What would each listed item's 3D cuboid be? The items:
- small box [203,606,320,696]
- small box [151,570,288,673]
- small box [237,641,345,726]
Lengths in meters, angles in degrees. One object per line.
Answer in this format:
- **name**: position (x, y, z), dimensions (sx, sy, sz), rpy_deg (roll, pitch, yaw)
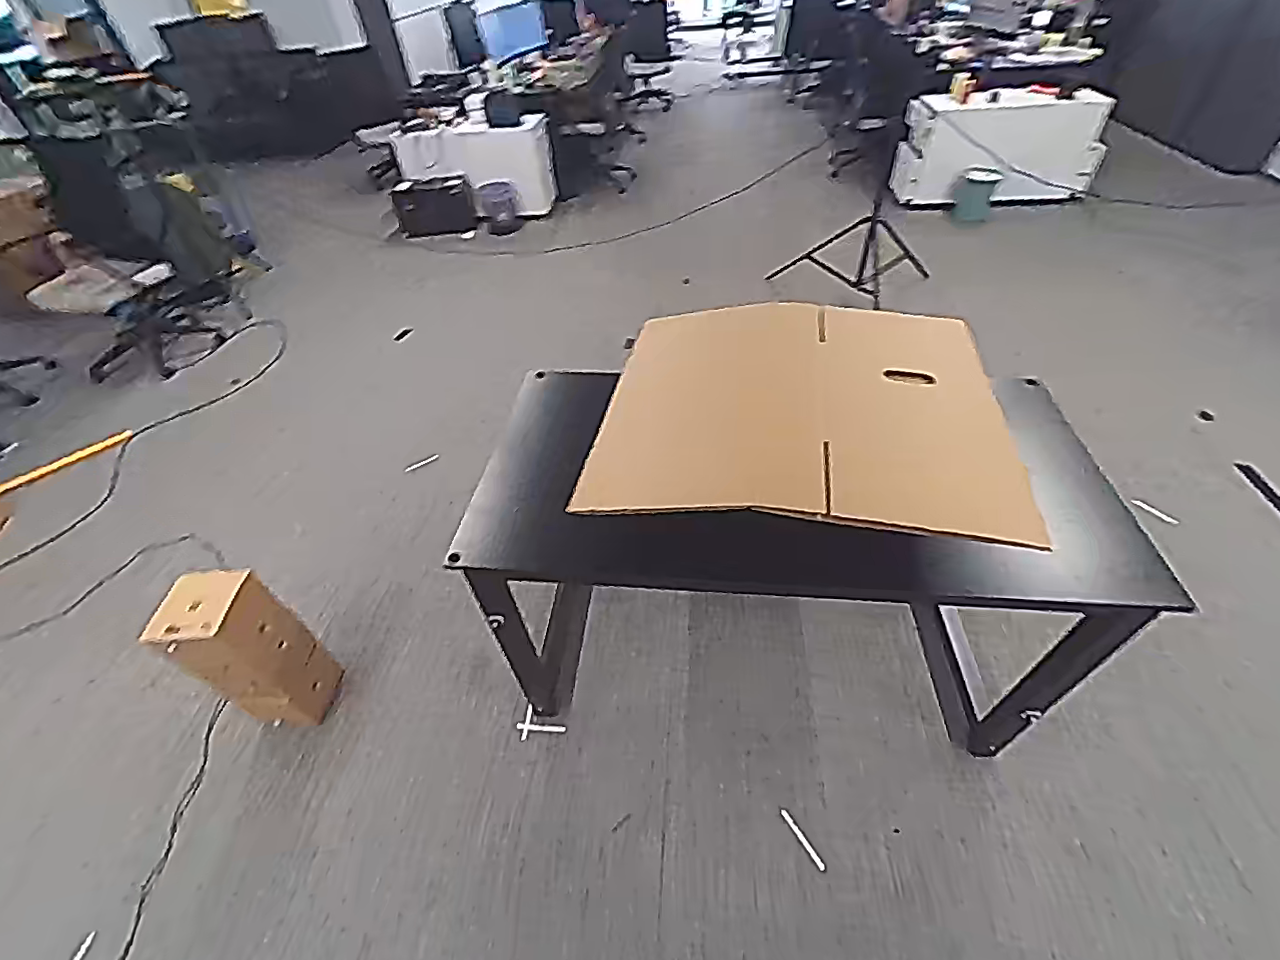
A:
- **small box**: position (-0.979, 0.452, 1.414), dimensions (0.168, 0.176, 0.179), rpy_deg (-2, 44, 2)
- **small box**: position (-0.988, 0.339, 1.295), dimensions (0.168, 0.176, 0.179), rpy_deg (-4, 44, 1)
- **small box**: position (-0.968, 0.571, 1.524), dimensions (0.168, 0.176, 0.179), rpy_deg (-1, 46, 5)
